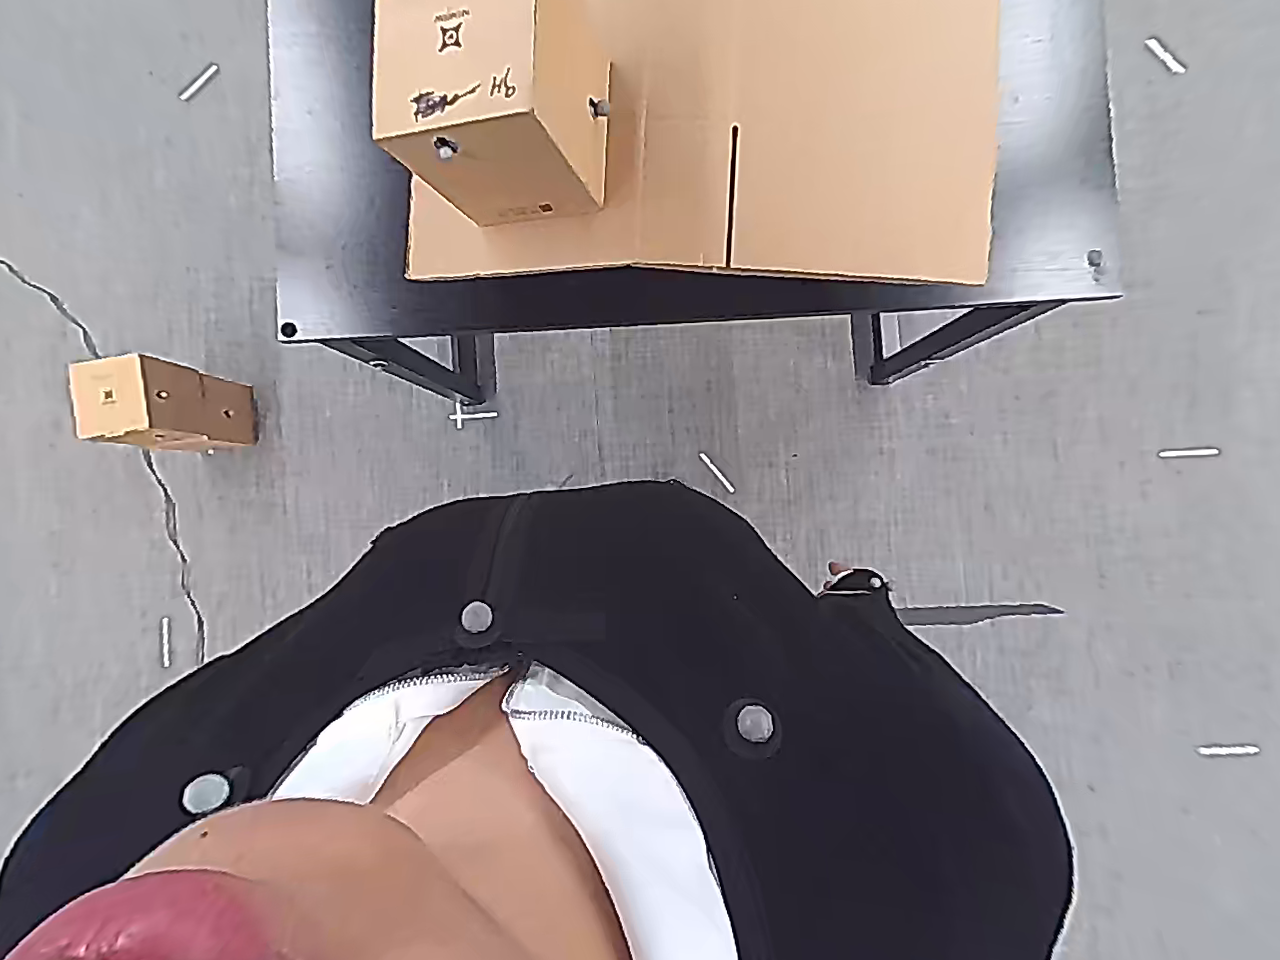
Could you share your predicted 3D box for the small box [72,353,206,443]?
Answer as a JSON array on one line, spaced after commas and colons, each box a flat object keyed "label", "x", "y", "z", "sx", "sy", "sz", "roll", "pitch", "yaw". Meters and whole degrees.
[{"label": "small box", "x": -1.186, "y": -0.187, "z": 1.295, "sx": 0.168, "sy": 0.176, "sz": 0.179, "roll": -10, "pitch": 87, "yaw": 0}]

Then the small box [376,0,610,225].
[{"label": "small box", "x": -0.136, "y": -0.392, "z": 0.551, "sx": 0.168, "sy": 0.176, "sz": 0.179, "roll": 2, "pitch": 88, "yaw": 17}]

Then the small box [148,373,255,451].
[{"label": "small box", "x": -1.180, "y": -0.177, "z": 1.457, "sx": 0.168, "sy": 0.176, "sz": 0.179, "roll": -6, "pitch": 89, "yaw": 2}]
